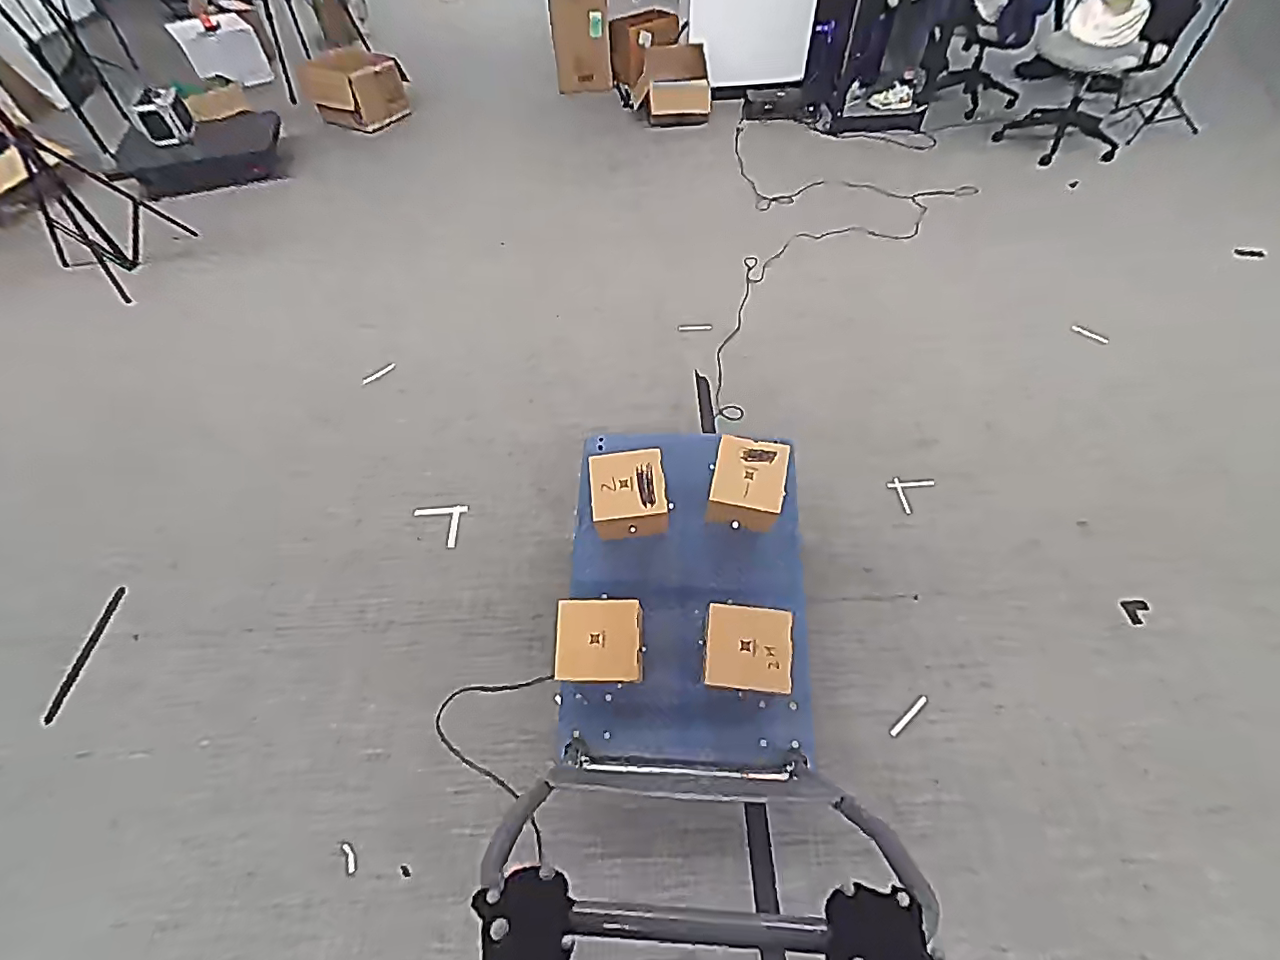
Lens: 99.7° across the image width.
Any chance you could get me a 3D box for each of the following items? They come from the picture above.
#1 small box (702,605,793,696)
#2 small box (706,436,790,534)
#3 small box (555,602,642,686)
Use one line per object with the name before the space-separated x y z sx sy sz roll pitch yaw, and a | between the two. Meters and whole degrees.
small box | 0.231 0.379 1.188 0.179 0.176 0.168 5 69 5
small box | 0.260 0.016 1.334 0.168 0.176 0.179 11 70 7
small box | -0.085 0.371 1.210 0.179 0.176 0.168 -1 68 1
